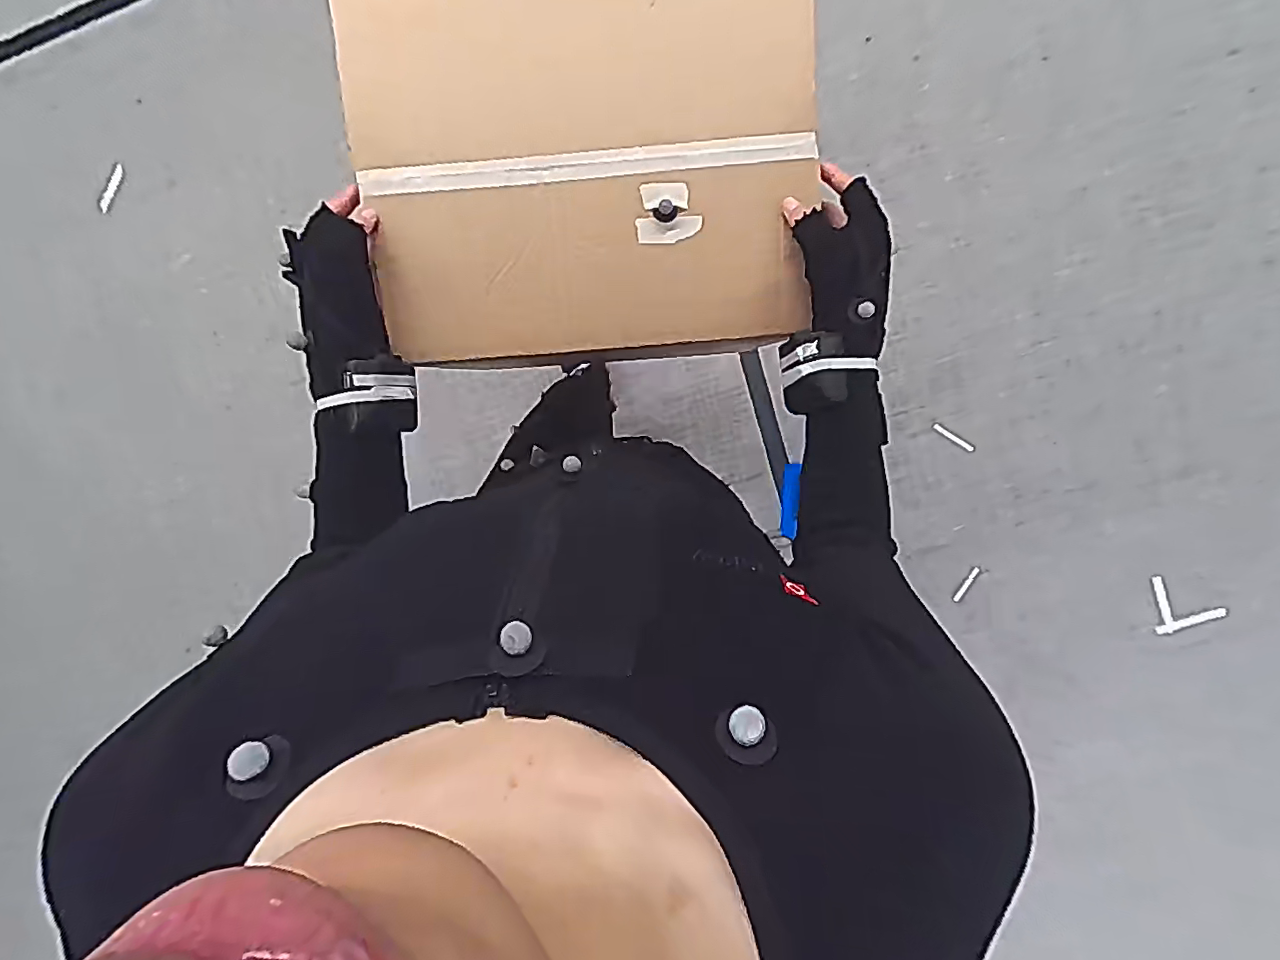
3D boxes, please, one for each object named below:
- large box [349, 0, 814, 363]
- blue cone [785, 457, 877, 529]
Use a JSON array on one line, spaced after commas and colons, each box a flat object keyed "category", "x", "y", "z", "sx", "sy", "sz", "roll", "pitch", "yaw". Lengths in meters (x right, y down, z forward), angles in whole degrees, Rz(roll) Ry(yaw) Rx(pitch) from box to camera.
[{"category": "large box", "x": -0.046, "y": -0.317, "z": 0.635, "sx": 0.408, "sy": 0.320, "sz": 0.320, "roll": -4, "pitch": 100, "yaw": 0}, {"category": "blue cone", "x": 0.476, "y": 0.055, "z": 1.284, "sx": 0.193, "sy": 0.380, "sz": 0.192, "roll": 4, "pitch": 97, "yaw": 3}]
